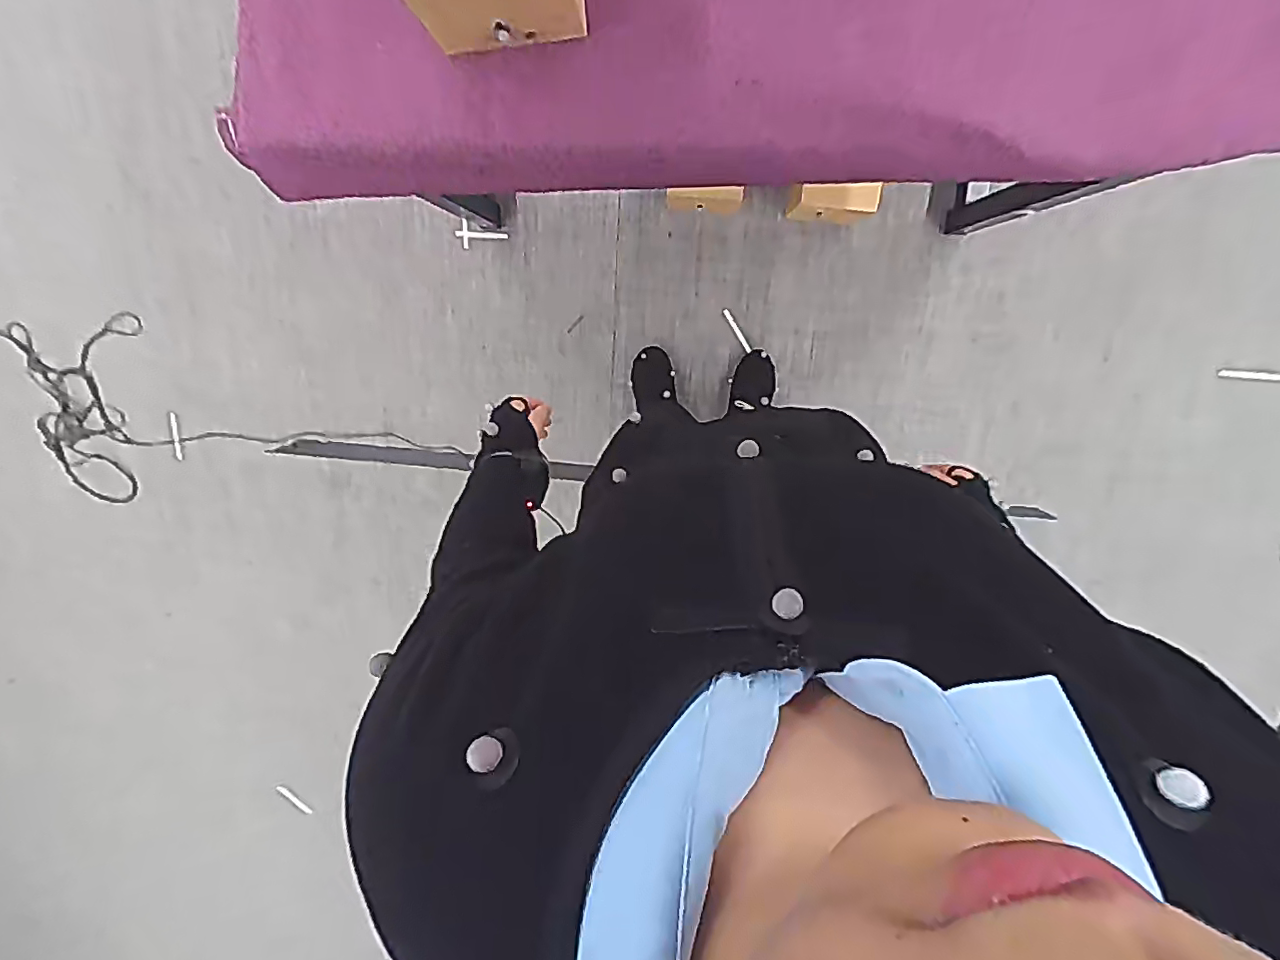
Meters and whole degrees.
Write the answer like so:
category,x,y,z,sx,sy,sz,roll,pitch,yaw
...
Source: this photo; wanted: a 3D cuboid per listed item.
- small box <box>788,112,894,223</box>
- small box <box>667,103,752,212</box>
category,x,y,z,sx,sy,sz,roll,pitch,yaw
small box,0.439,-0.688,1.213,0.168,0.176,0.179,7,106,2
small box,0.151,-0.717,1.221,0.168,0.176,0.179,5,106,2
